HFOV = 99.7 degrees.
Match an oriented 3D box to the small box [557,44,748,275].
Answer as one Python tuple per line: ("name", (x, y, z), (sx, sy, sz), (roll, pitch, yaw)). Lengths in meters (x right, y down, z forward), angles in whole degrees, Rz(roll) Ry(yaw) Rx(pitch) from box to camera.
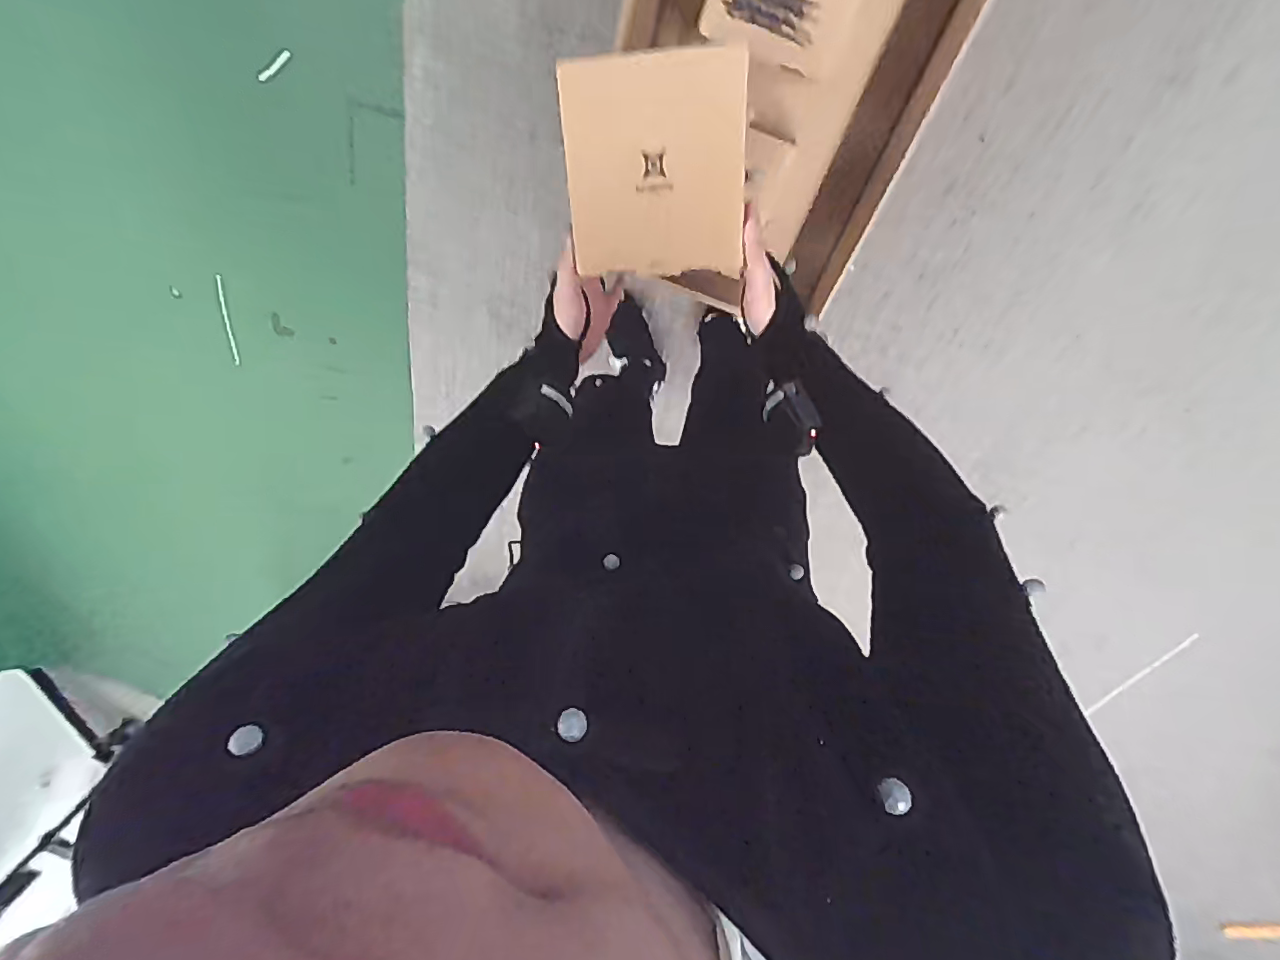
("small box", (0.022, -0.318, 0.562), (0.168, 0.176, 0.179), (1, 118, 9))

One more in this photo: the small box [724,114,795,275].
("small box", (0.114, -0.432, 0.789), (0.168, 0.176, 0.179), (22, 126, -1))

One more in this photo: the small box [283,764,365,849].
("small box", (-1.044, 1.088, 1.804), (0.168, 0.176, 0.179), (18, 128, 1))
